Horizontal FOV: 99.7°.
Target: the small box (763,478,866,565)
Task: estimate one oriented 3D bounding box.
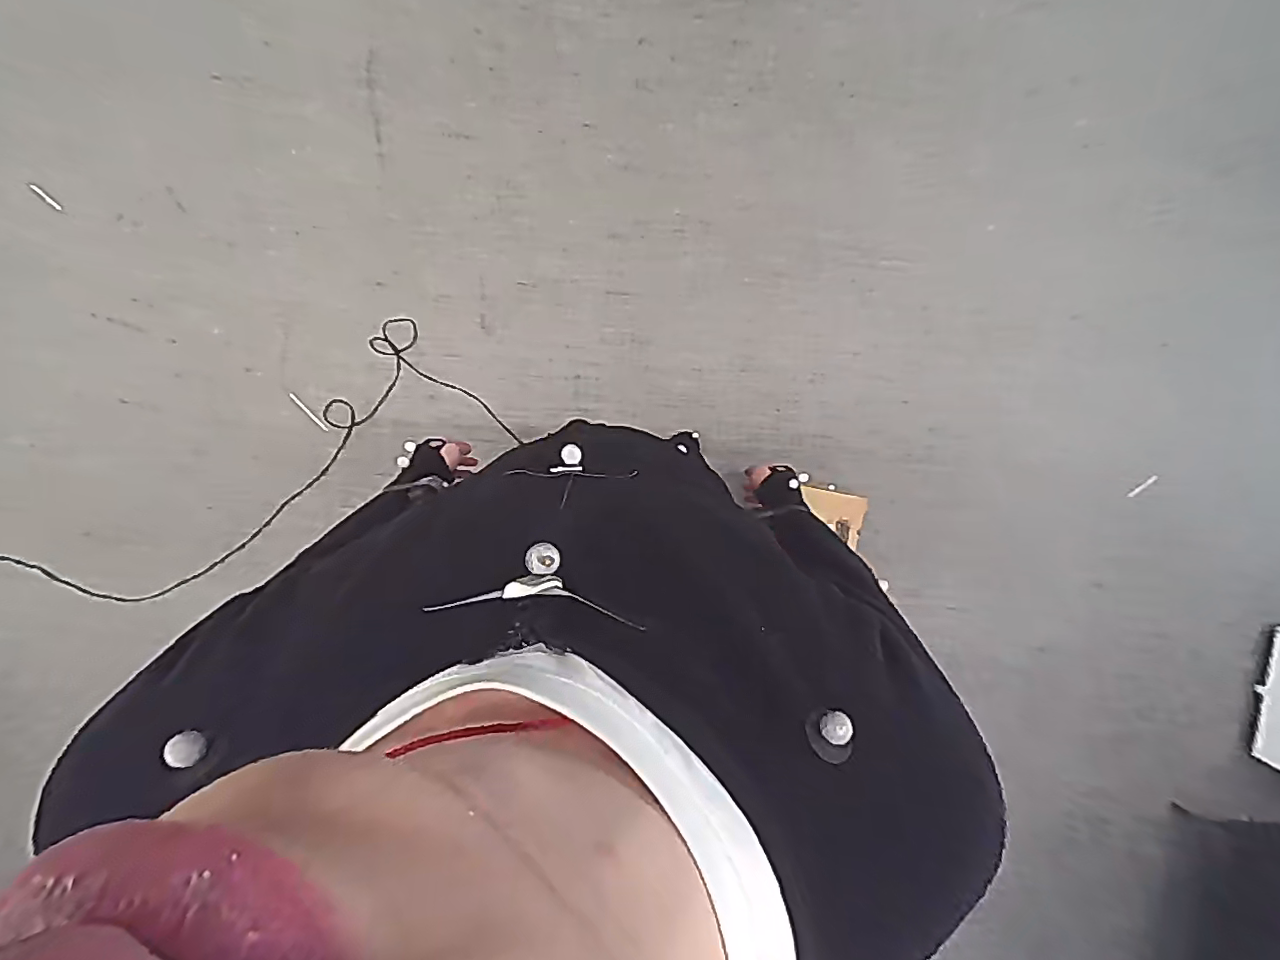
[{"bbox_3d":[0.421,0.095,1.328,0.179,0.176,0.168,11,95,-1],"label":"small box"}]

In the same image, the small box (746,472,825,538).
[{"bbox_3d":[0.409,0.075,1.492,0.179,0.176,0.168,10,96,-2],"label":"small box"}]
